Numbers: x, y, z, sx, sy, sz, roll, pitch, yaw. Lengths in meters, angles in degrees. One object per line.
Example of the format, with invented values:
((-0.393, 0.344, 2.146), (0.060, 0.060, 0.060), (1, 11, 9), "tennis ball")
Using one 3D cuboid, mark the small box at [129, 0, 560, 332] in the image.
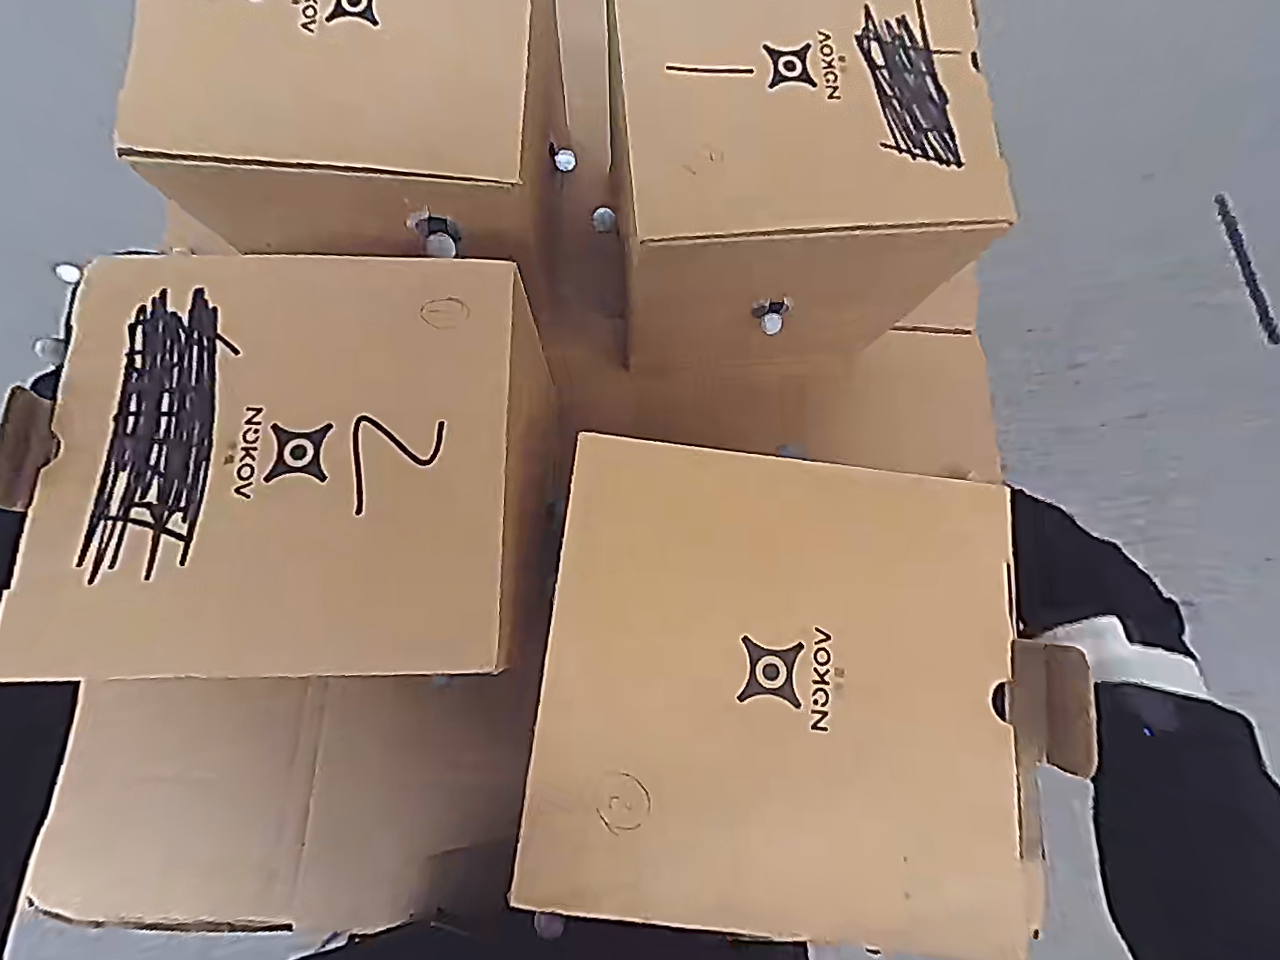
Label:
((-0.146, -0.203, 0.338), (0.179, 0.176, 0.168), (3, 82, -2), "small box")
